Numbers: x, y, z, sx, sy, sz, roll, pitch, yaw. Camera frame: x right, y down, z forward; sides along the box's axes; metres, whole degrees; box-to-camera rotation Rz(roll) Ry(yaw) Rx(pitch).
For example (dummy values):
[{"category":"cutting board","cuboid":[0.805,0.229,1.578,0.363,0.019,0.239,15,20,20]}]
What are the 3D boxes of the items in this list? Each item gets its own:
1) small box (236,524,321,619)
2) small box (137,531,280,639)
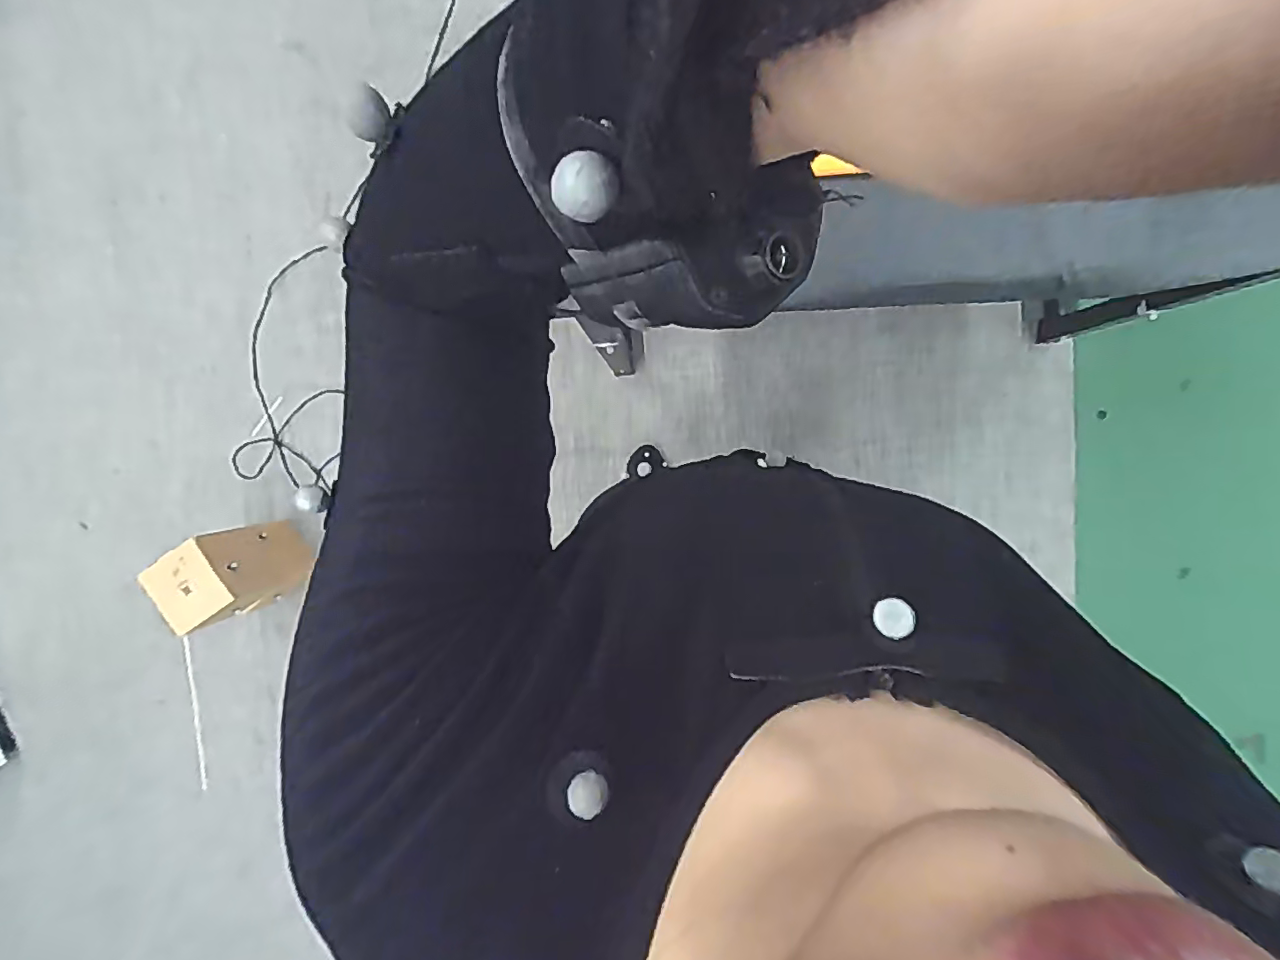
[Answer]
[{"category":"small box","cuboid":[-1.018,0.238,1.466,0.168,0.176,0.179,-39,91,4]},{"category":"small box","cuboid":[-1.024,0.243,1.301,0.168,0.176,0.179,-34,91,3]}]
